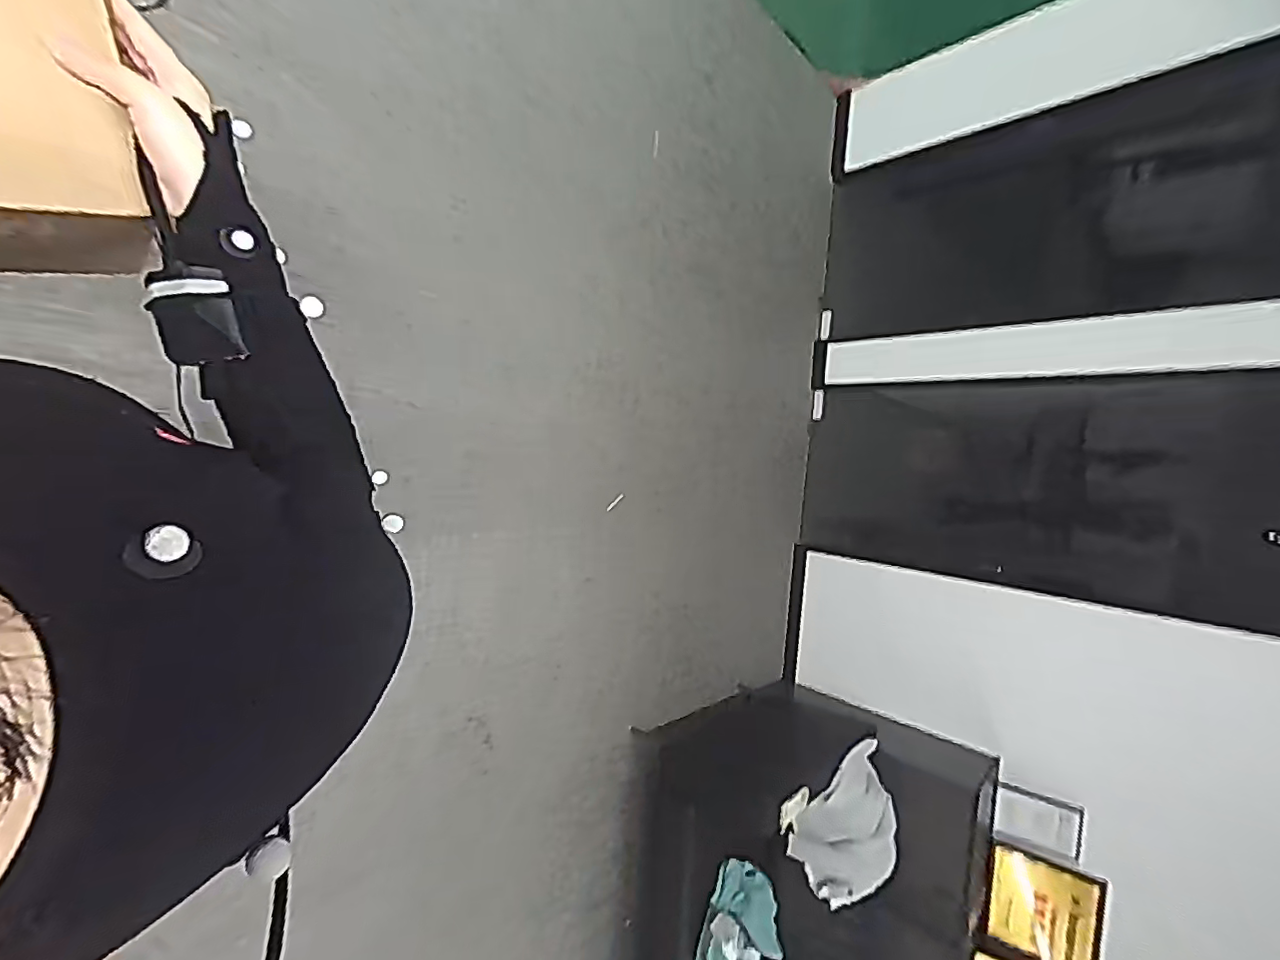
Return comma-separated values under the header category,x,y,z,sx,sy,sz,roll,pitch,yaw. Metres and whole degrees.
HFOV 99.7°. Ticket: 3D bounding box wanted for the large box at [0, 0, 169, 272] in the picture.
category,x,y,z,sx,sy,sz,roll,pitch,yaw
large box,-0.598,-0.309,0.325,0.408,0.320,0.320,-18,111,-42
